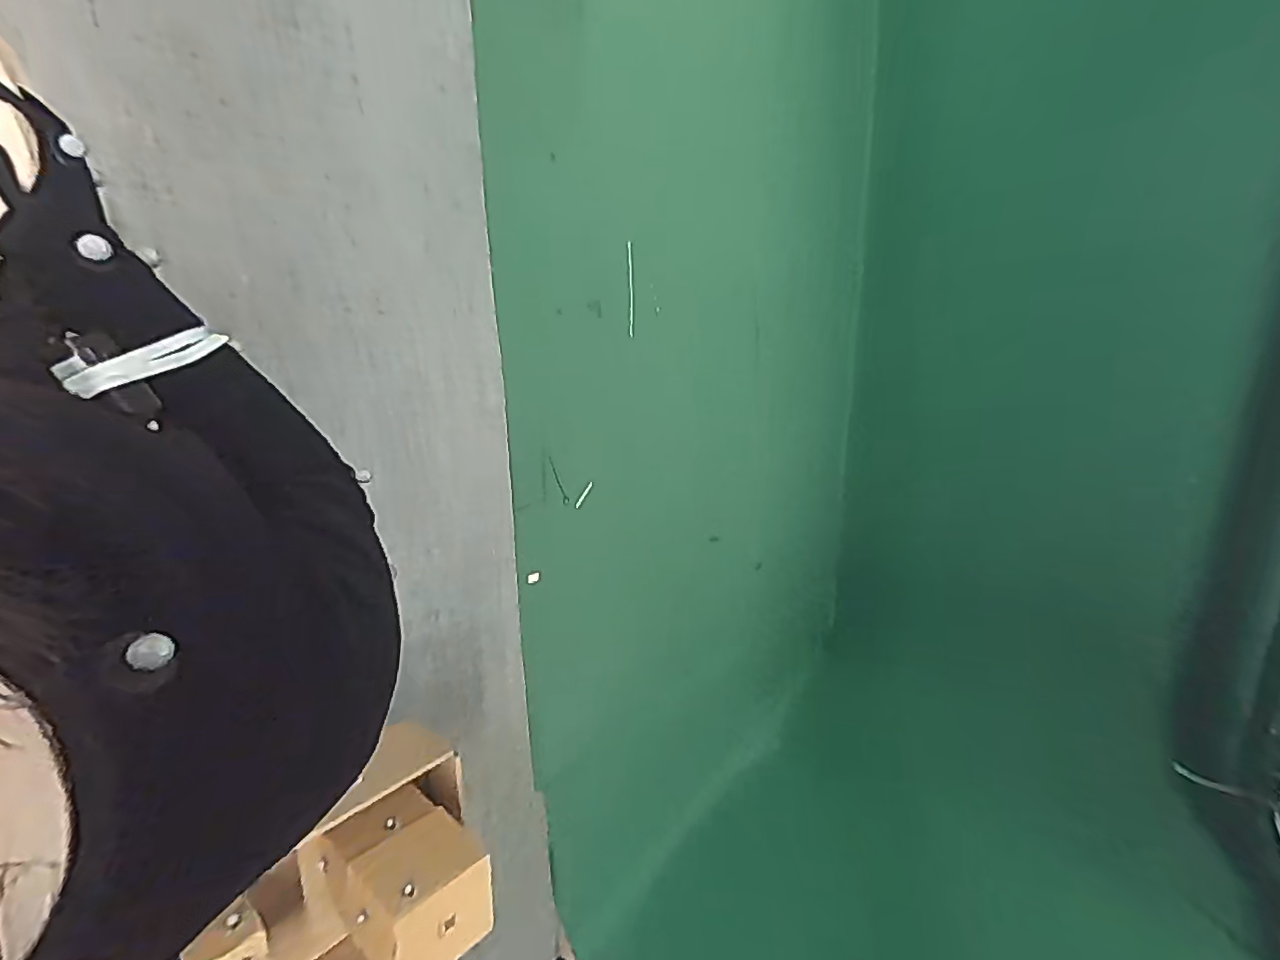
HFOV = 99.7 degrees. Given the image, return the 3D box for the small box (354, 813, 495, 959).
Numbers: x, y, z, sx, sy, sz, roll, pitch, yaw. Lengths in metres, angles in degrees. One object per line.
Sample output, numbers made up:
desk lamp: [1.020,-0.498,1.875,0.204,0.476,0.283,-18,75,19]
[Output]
small box: [-0.381,0.743,0.962,0.179,0.176,0.168,-11,105,-47]

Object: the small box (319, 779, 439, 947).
small box: [-0.504,0.737,1.068,0.179,0.176,0.168,-12,106,-47]
